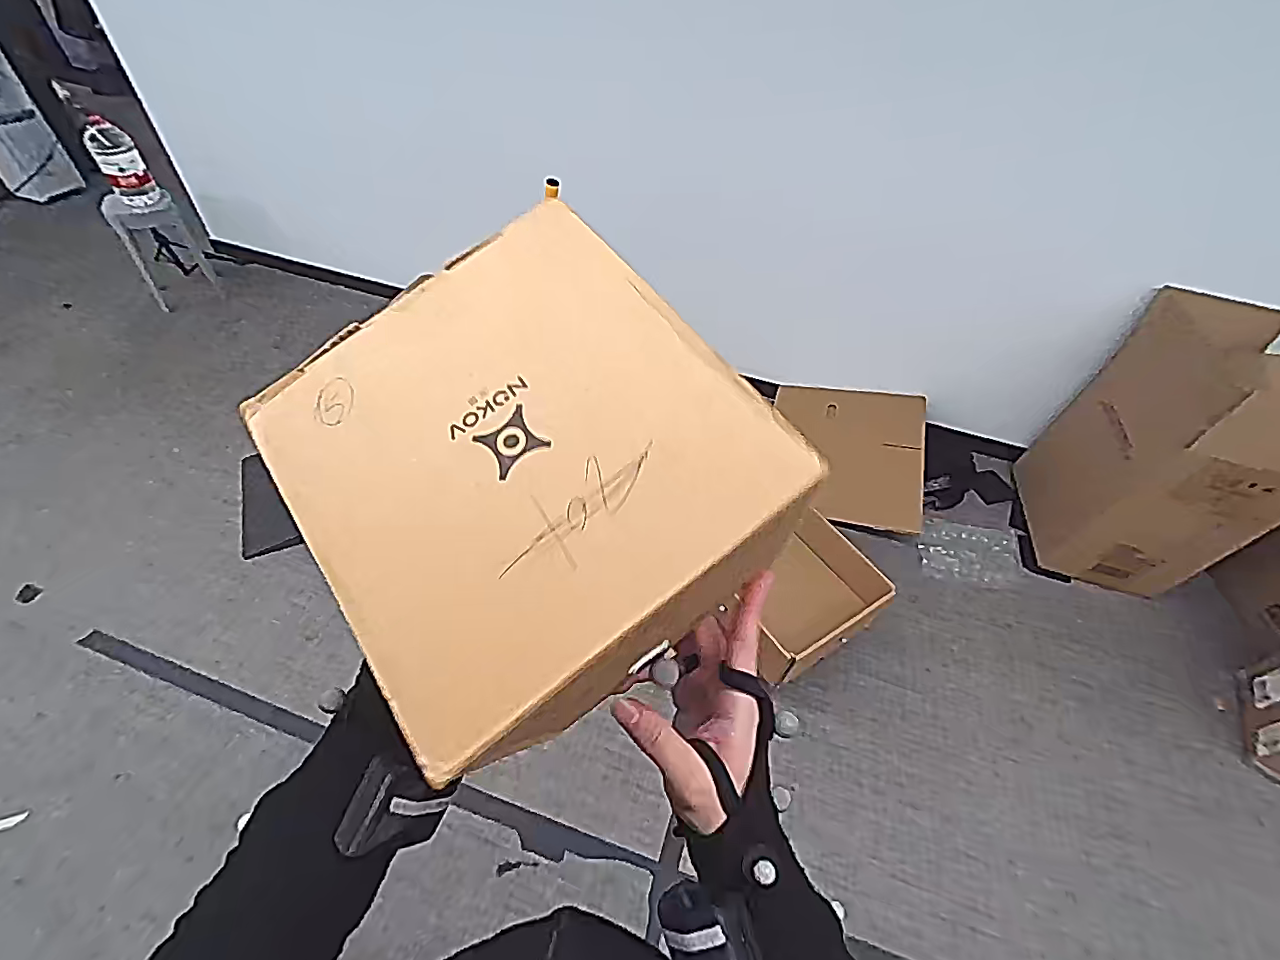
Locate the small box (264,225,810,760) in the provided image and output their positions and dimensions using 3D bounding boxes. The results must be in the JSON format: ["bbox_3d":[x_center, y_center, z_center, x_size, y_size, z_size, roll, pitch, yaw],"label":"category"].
[{"bbox_3d":[-0.041,0.014,0.295,0.168,0.176,0.179,-40,71,-7],"label":"small box"}]
